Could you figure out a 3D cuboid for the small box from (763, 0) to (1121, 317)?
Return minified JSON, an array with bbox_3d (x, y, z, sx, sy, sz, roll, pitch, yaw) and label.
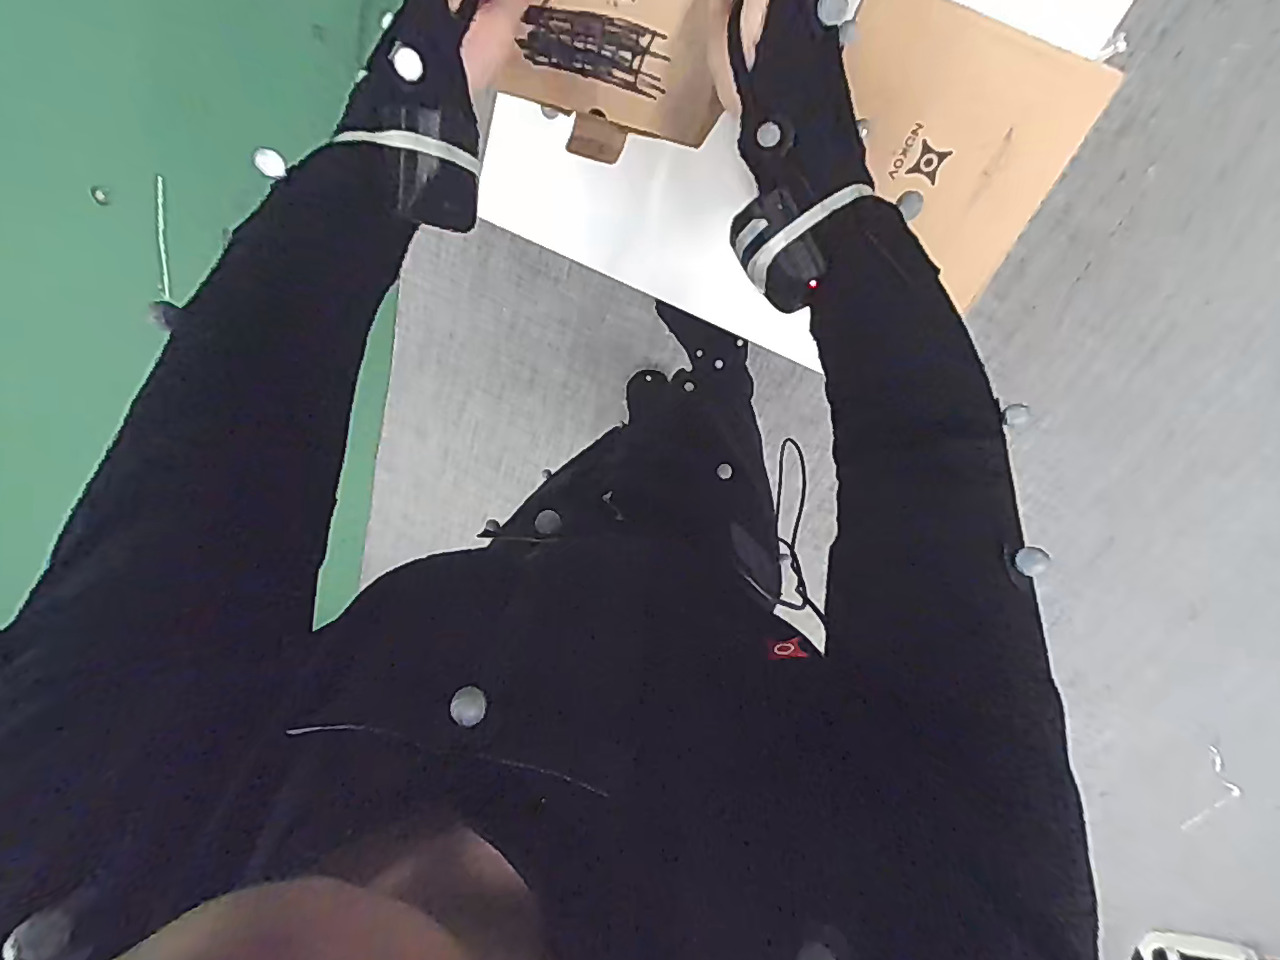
[{"bbox_3d":[0.219,-0.259,0.454,0.179,0.176,0.168,23,120,1],"label":"small box"}]
